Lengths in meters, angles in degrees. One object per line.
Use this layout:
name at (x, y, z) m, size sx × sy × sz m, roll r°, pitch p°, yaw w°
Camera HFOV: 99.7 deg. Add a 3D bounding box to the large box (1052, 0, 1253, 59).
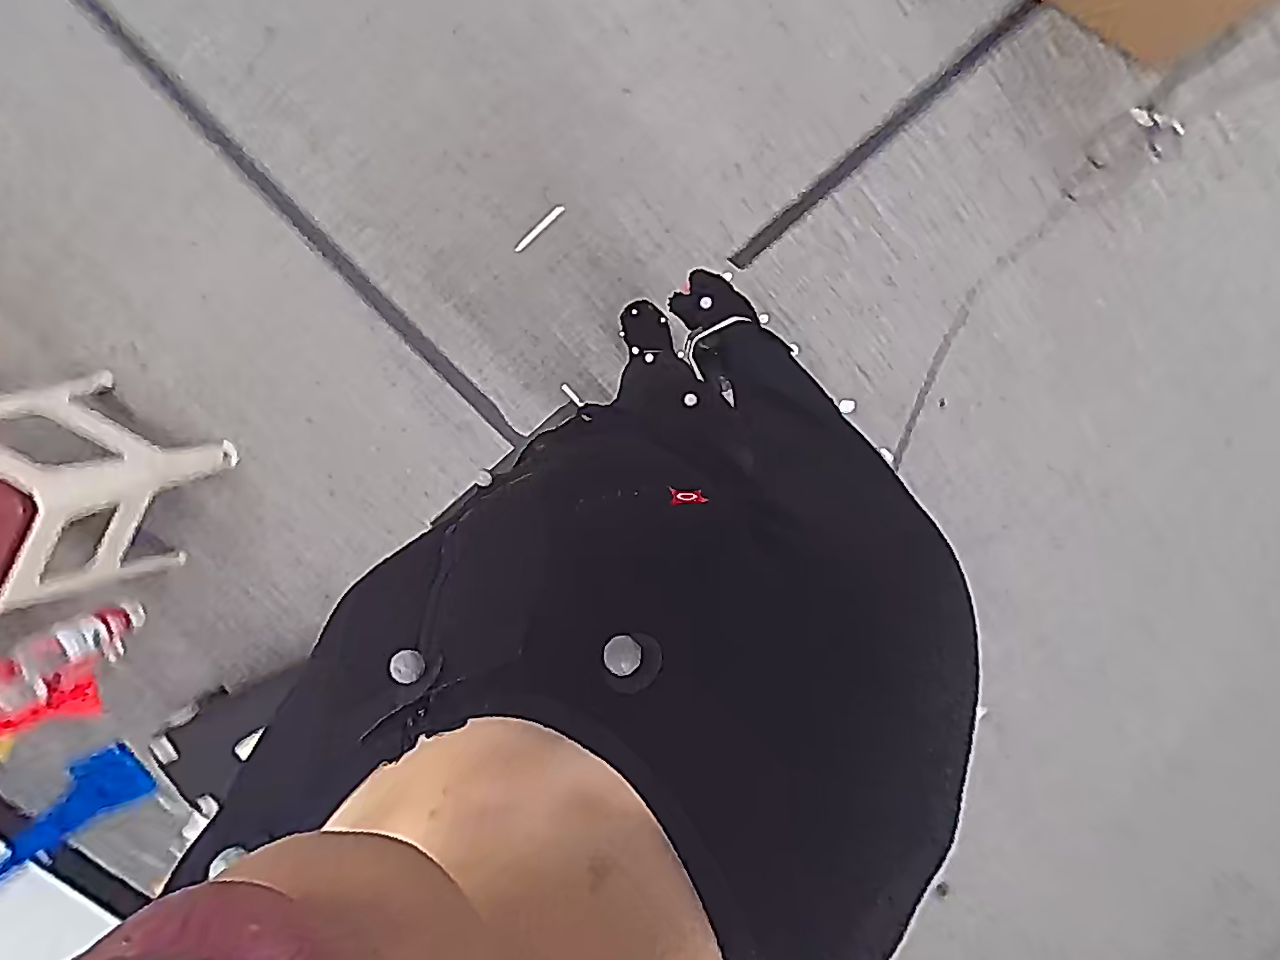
large box at (1.126, -1.200, 1.119) m, size 0.408 × 0.320 × 0.320 m, roll 23°, pitch 100°, yaw -8°
